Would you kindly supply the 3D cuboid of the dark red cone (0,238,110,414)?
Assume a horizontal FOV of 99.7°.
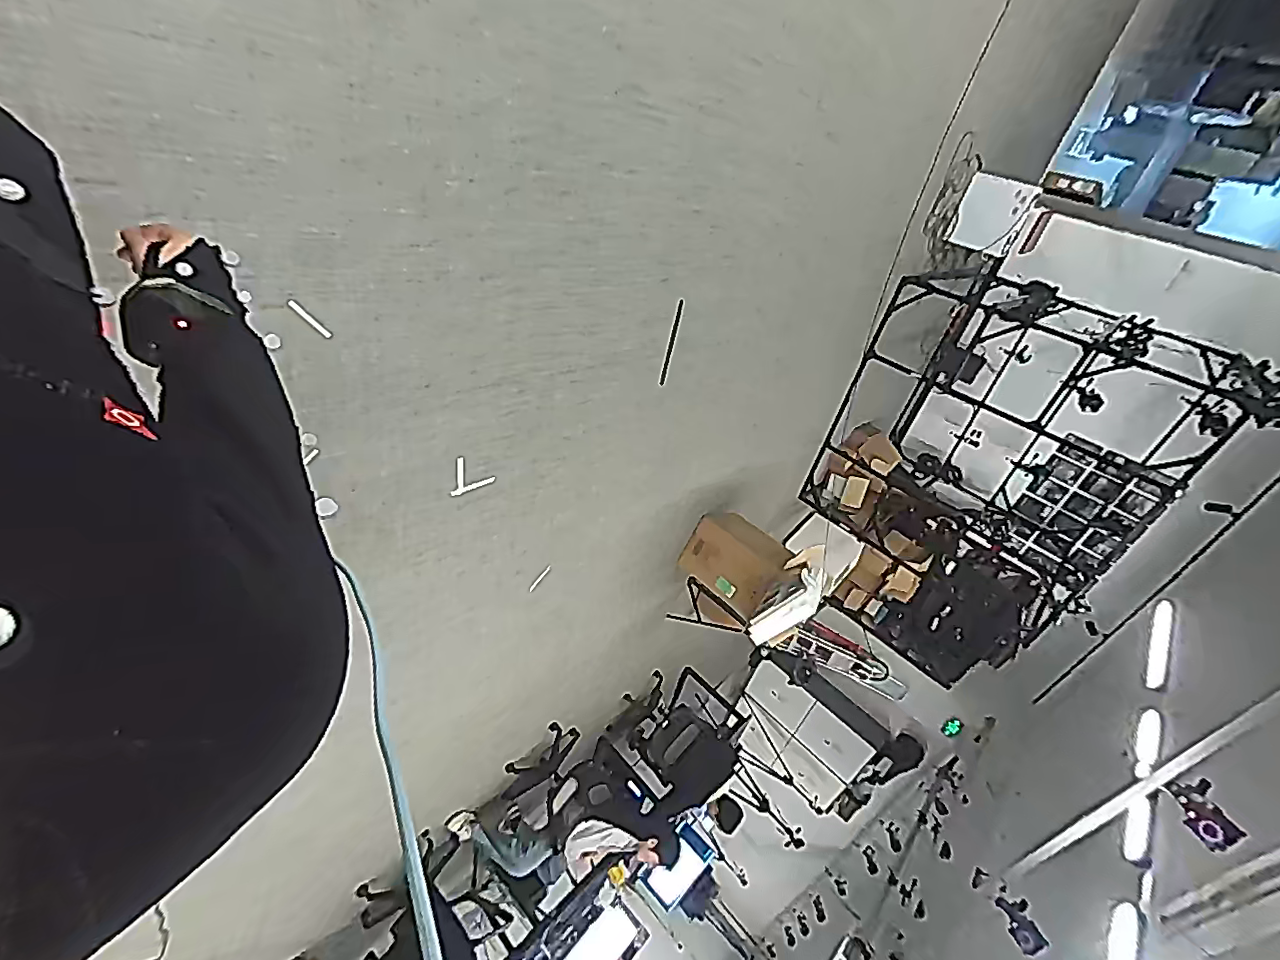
[{"bbox_3d":[-0.922,-0.212,0.811,0.201,0.394,0.202,-21,138,-42],"label":"dark red cone"}]
